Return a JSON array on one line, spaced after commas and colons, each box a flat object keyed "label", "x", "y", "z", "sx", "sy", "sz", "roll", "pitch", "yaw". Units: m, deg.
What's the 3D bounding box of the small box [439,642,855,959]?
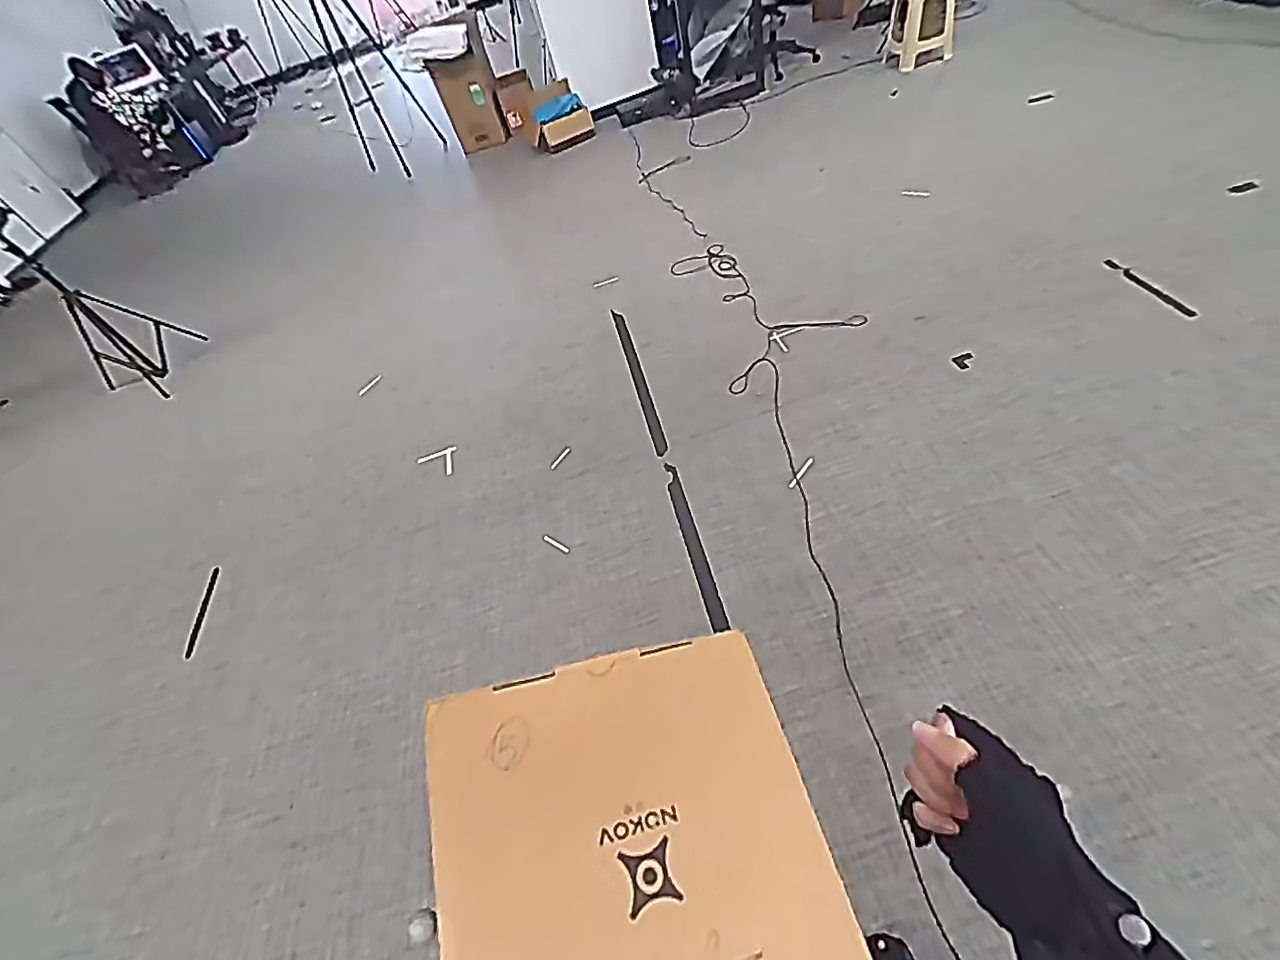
[{"label": "small box", "x": -0.016, "y": 0.216, "z": 0.302, "sx": 0.168, "sy": 0.176, "sz": 0.179, "roll": -7, "pitch": 58, "yaw": -19}]
